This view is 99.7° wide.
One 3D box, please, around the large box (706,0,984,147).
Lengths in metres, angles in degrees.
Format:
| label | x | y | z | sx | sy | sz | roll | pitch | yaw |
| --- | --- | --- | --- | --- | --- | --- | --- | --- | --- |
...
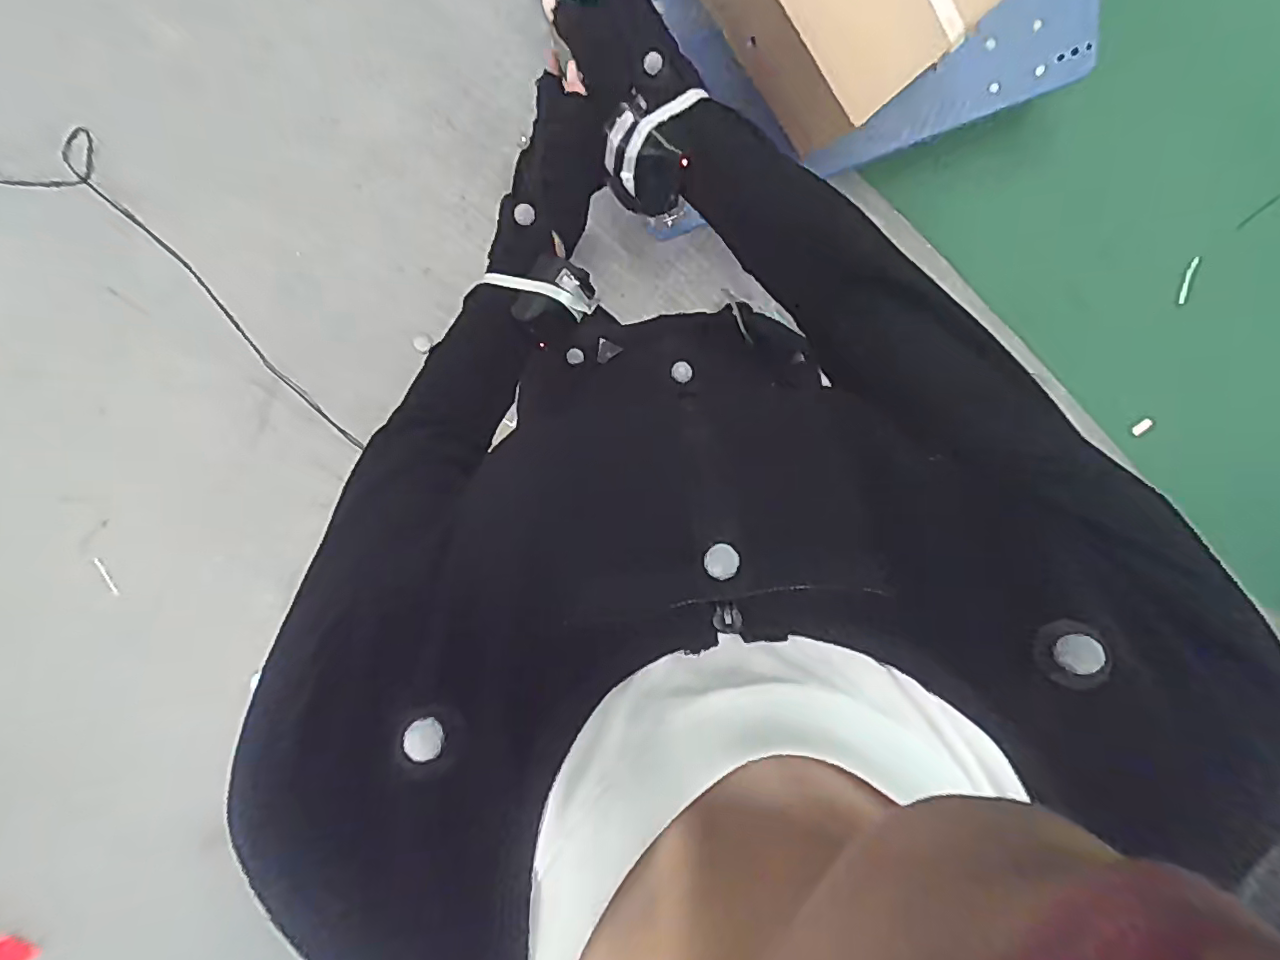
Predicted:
| label | x | y | z | sx | sy | sz | roll | pitch | yaw |
| --- | --- | --- | --- | --- | --- | --- | --- | --- | --- |
| large box | 0.290 | -0.803 | 0.810 | 0.320 | 0.320 | 0.408 | -36 | 108 | 16 |
